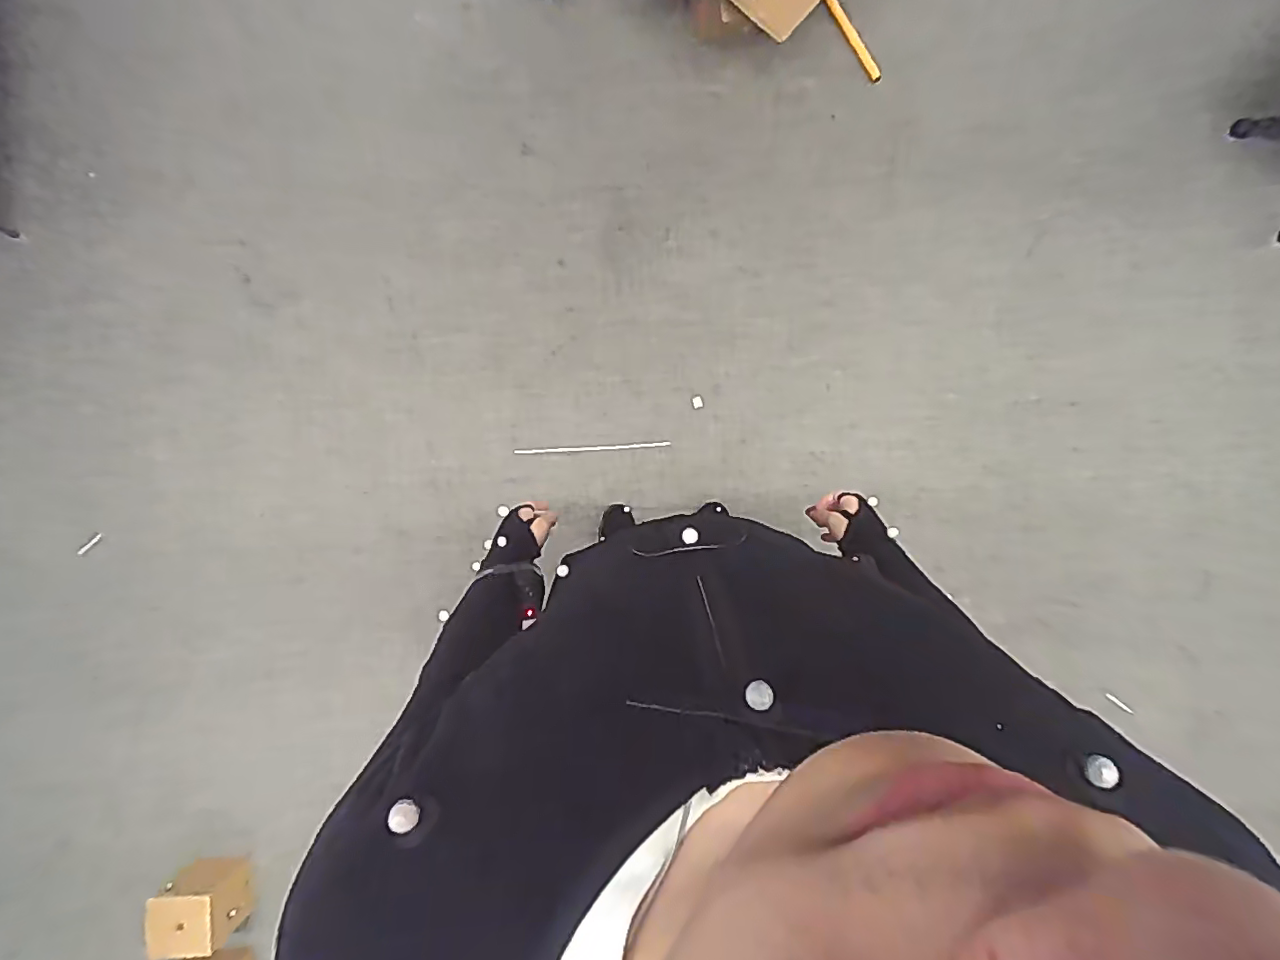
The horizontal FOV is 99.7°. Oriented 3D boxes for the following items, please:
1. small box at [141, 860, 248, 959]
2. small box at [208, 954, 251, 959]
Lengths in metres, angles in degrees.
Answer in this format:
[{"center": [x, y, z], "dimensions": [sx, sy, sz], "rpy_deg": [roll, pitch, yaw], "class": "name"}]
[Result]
[{"center": [-1.239, 1.204, 1.519], "dimensions": [0.179, 0.176, 0.168], "rpy_deg": [-3, 88, 0], "class": "small box"}, {"center": [-1.222, 1.471, 1.506], "dimensions": [0.179, 0.176, 0.168], "rpy_deg": [-3, 87, 0], "class": "small box"}]
